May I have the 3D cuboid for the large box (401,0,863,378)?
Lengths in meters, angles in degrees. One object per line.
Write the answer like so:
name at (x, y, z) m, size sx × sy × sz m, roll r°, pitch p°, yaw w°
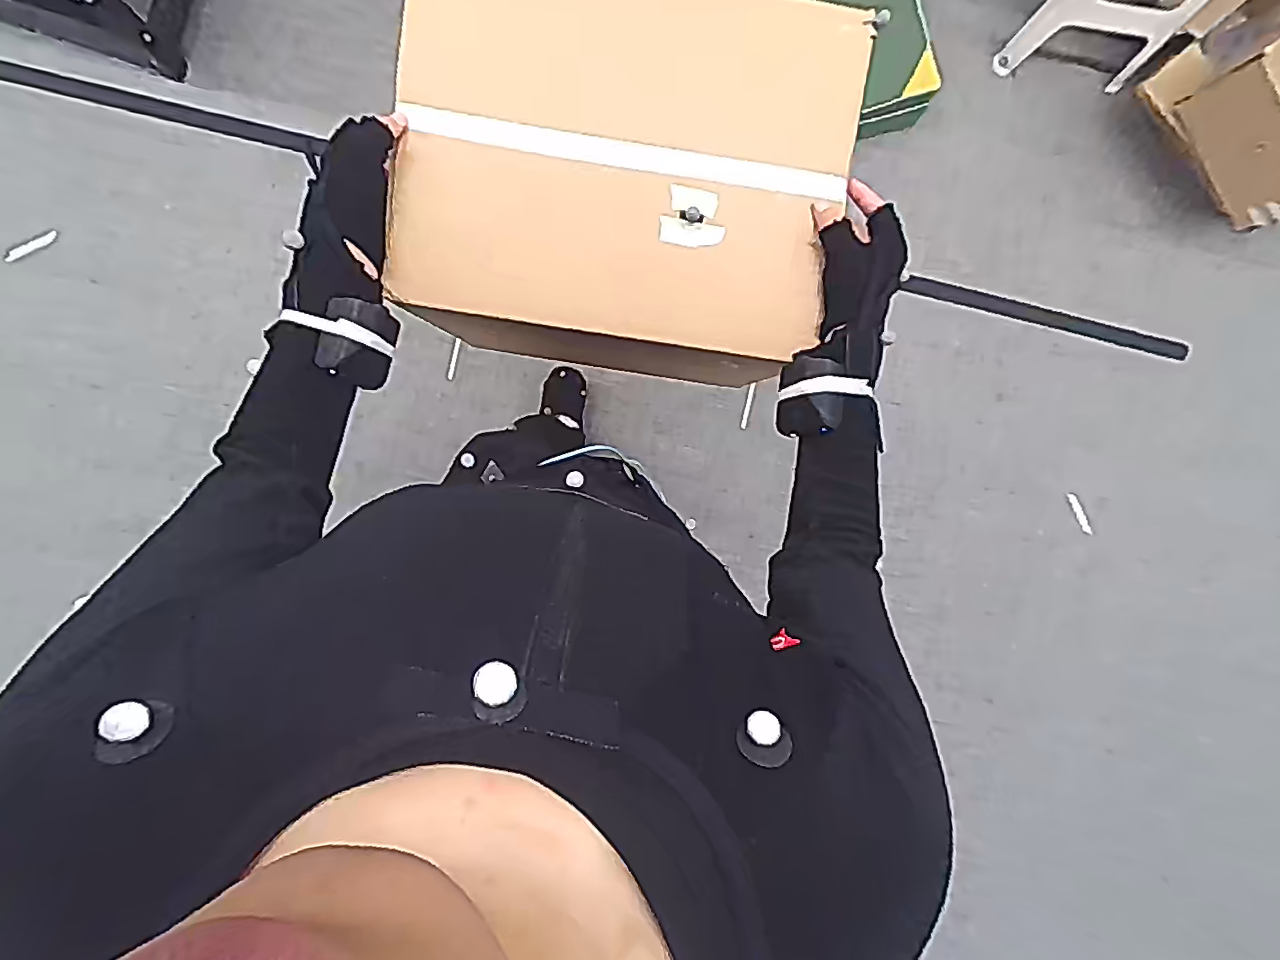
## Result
large box at (-0.018, -0.314, 0.648) m, size 0.408 × 0.320 × 0.320 m, roll 8°, pitch 96°, yaw -4°
